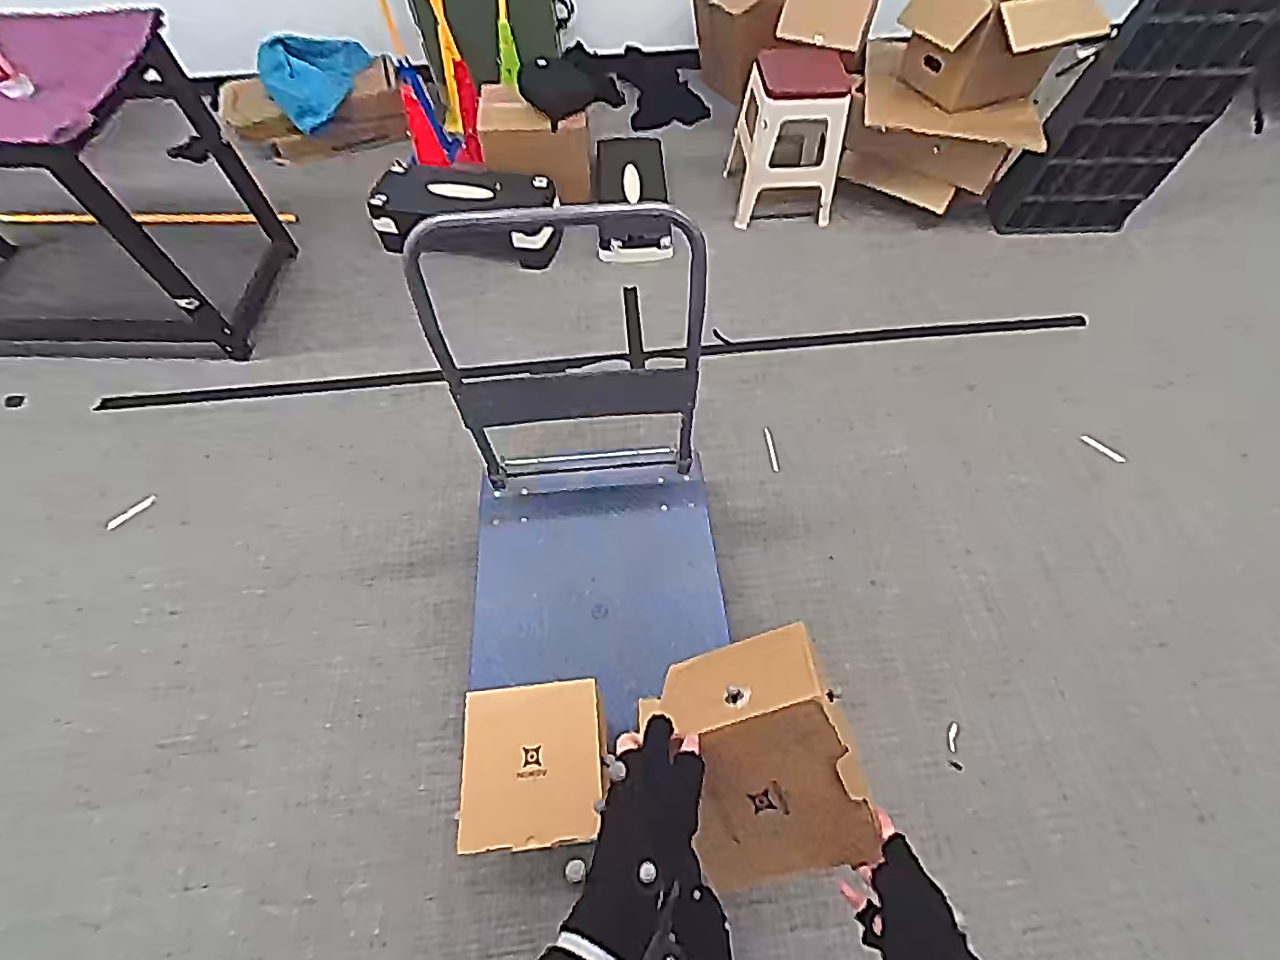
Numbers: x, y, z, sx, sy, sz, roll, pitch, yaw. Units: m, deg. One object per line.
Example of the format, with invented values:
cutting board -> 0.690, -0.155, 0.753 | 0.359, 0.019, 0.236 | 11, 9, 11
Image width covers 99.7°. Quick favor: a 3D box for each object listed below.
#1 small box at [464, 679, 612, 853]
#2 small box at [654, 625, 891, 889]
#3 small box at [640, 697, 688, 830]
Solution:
small box -> -0.126, 0.378, 0.721 | 0.168, 0.176, 0.179 | -5, 61, -3
small box -> 0.134, 0.281, 0.580 | 0.179, 0.176, 0.168 | -23, 95, 14
small box -> 0.085, 0.451, 0.868 | 0.168, 0.176, 0.179 | -3, 61, -1
